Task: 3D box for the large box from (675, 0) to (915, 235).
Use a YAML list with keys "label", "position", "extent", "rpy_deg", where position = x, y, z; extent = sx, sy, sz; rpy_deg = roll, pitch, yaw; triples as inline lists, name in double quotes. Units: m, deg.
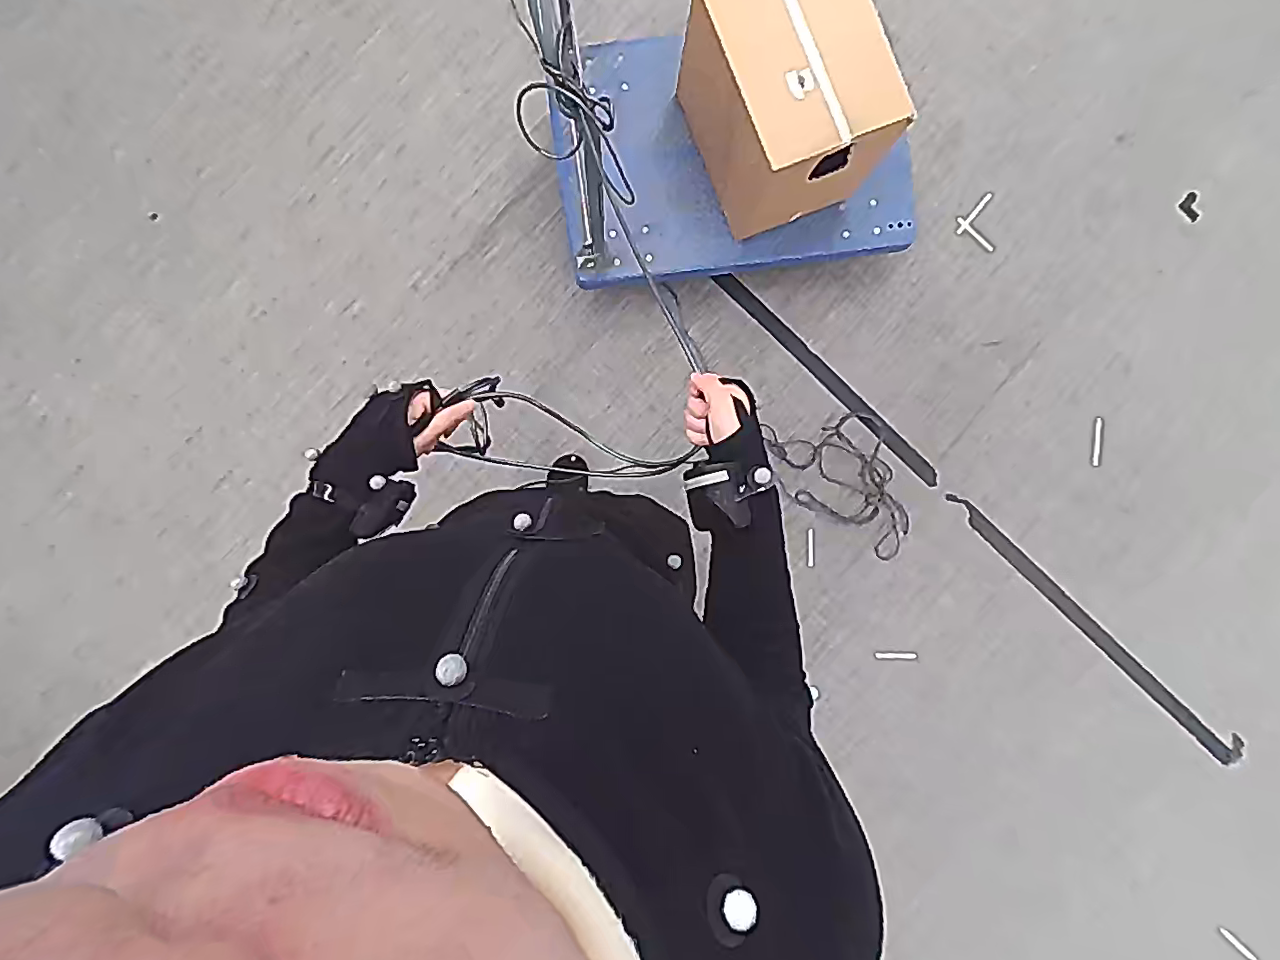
- label: "large box"
  position: [0.307, -0.833, 1.178]
  extent: [0.320, 0.320, 0.408]
  rpy_deg: [-23, 93, -2]
